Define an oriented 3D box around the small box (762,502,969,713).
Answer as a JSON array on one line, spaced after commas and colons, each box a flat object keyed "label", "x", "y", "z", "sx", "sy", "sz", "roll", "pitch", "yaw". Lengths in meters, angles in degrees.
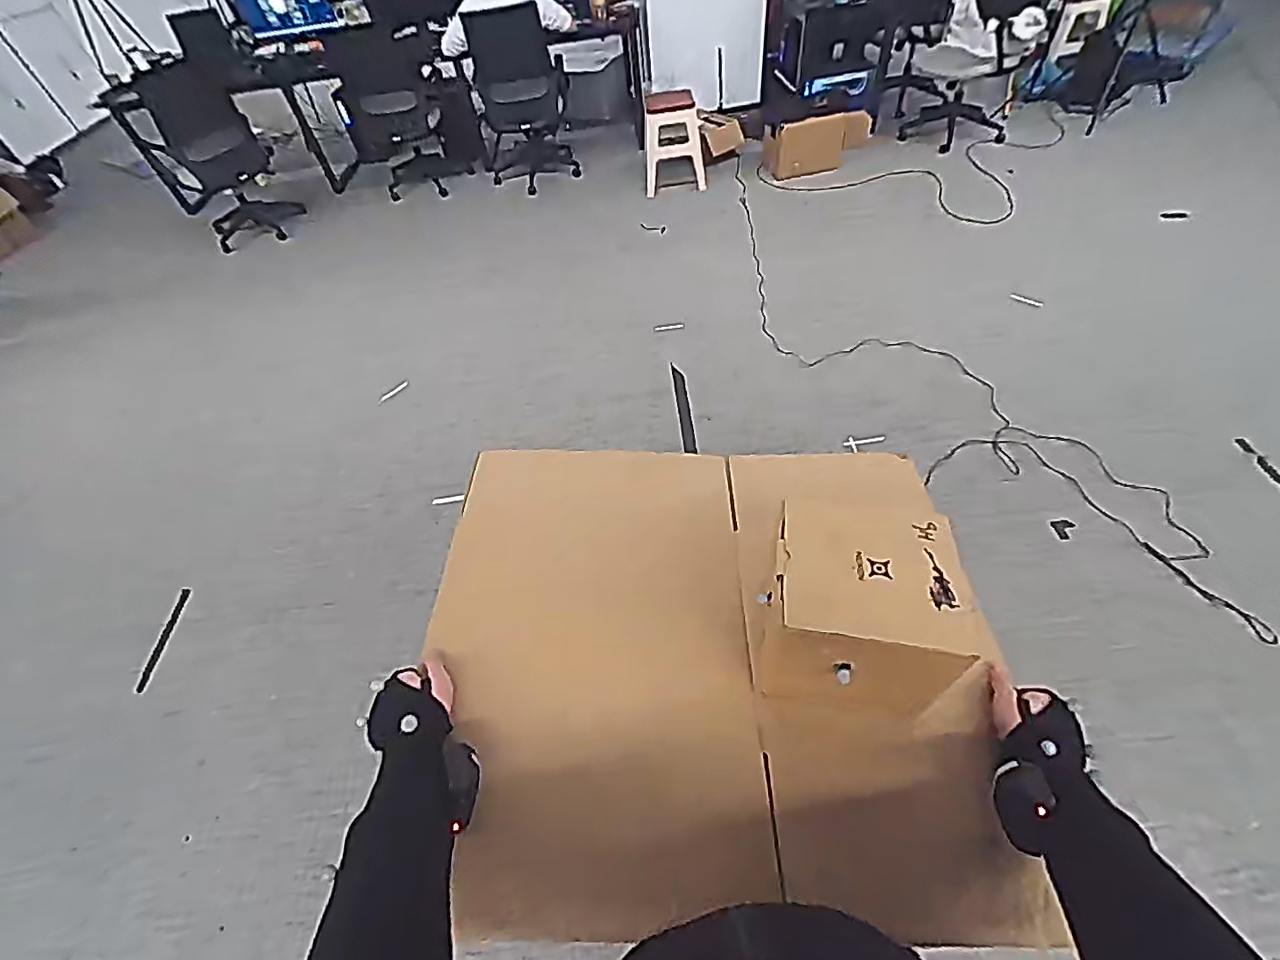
[{"label": "small box", "x": 0.236, "y": 0.146, "z": 0.616, "sx": 0.179, "sy": 0.176, "sz": 0.168, "roll": 6, "pitch": 49, "yaw": 10}]
